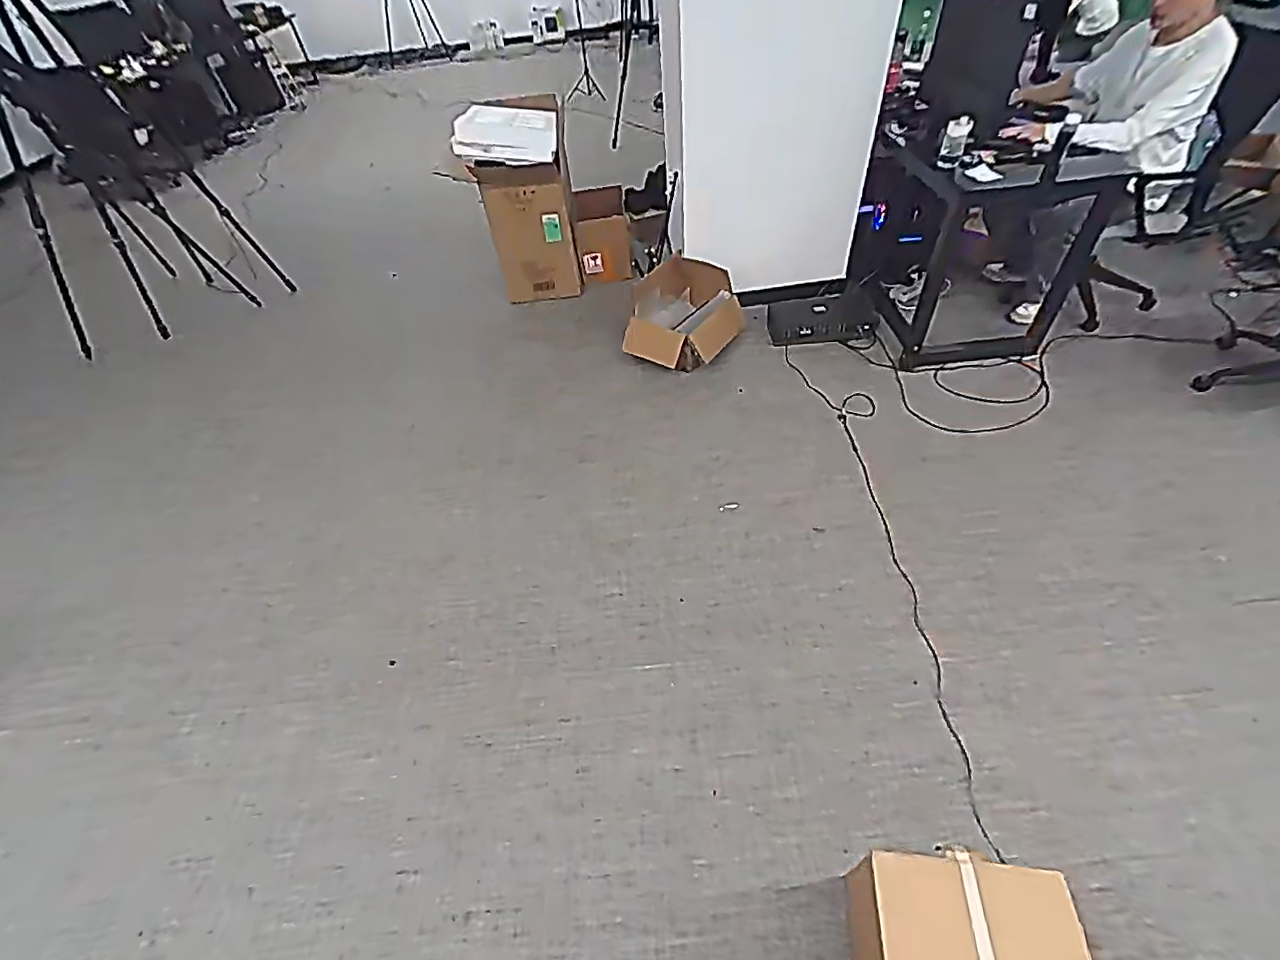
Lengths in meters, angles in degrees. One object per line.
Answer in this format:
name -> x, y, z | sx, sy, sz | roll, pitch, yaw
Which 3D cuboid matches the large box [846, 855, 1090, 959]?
large box -> 0.568, 0.922, 0.935 | 0.320, 0.320, 0.408 | 1, 49, 10
